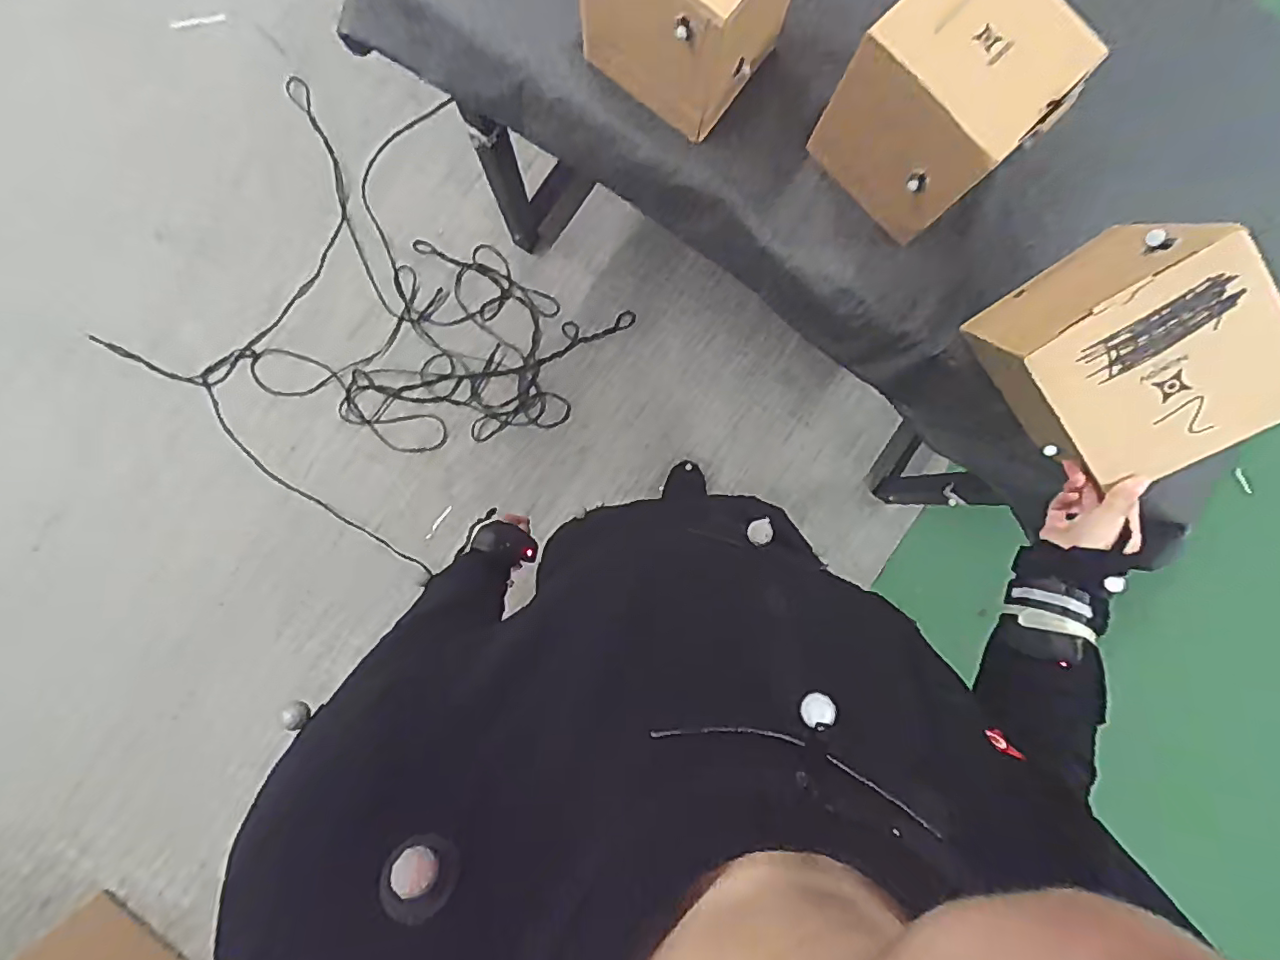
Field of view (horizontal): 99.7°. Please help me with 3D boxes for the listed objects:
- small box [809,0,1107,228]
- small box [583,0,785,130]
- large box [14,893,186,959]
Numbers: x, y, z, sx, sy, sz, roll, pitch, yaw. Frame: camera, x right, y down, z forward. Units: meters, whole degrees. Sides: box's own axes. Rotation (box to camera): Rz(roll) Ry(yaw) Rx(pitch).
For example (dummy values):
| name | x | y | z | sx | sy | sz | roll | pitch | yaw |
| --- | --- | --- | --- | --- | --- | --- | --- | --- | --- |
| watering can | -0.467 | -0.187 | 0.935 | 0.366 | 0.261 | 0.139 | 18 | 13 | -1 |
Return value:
| name | x | y | z | sx | sy | sz | roll | pitch | yaw |
| --- | --- | --- | --- | --- | --- | --- | --- | --- | --- |
| small box | 0.319 | -0.407 | 0.582 | 0.179 | 0.176 | 0.168 | 45 | 86 | 1 |
| small box | 0.049 | -0.529 | 0.575 | 0.179 | 0.176 | 0.168 | 36 | 86 | -1 |
| large box | -1.216 | 1.214 | 1.134 | 0.408 | 0.320 | 0.320 | 41 | 87 | 1 |
